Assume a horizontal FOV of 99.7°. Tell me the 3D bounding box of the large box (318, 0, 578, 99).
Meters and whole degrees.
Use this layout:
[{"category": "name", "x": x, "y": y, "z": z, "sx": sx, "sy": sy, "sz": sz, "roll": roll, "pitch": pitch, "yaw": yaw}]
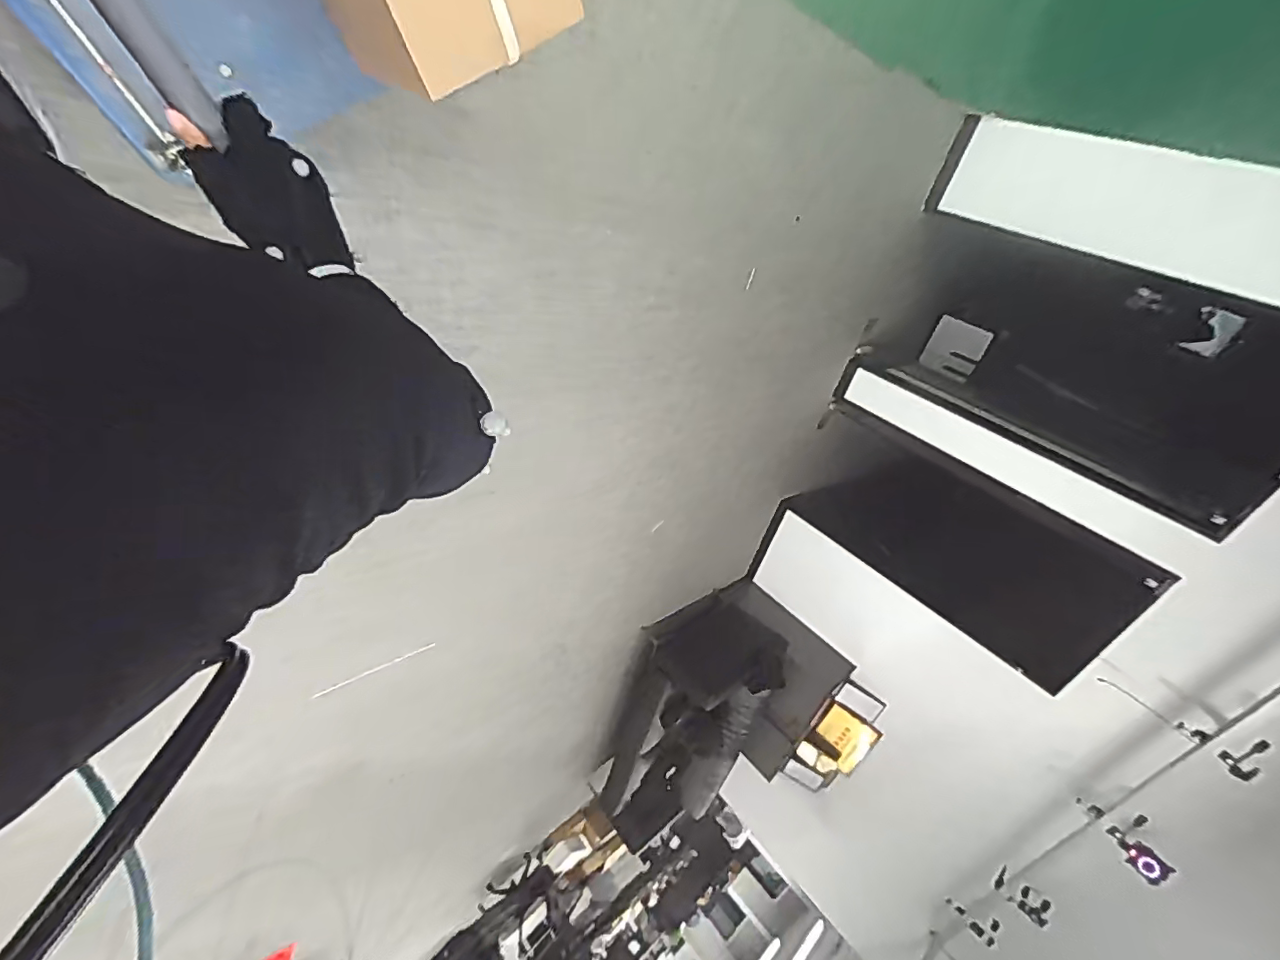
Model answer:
[{"category": "large box", "x": -0.352, "y": -0.863, "z": 0.786, "sx": 0.320, "sy": 0.320, "sz": 0.408, "roll": -41, "pitch": 145, "yaw": -15}]
